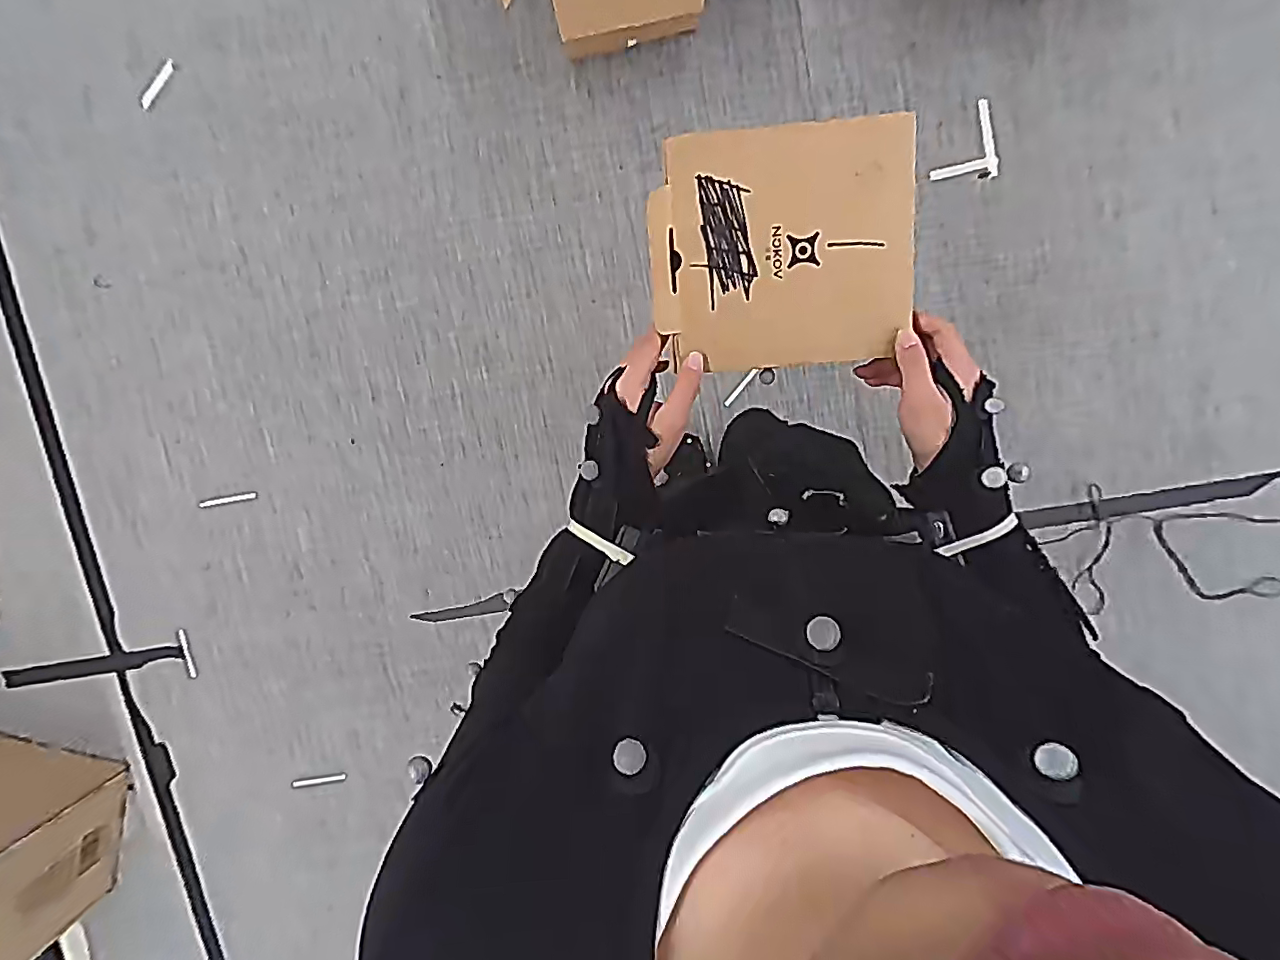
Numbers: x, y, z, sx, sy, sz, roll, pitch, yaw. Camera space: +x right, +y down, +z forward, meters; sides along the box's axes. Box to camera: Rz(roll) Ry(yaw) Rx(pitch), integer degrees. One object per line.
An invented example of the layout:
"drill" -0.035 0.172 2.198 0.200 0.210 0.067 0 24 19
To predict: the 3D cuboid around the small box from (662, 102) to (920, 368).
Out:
"small box" 0.112 -0.185 0.462 0.179 0.176 0.168 -5 102 3
